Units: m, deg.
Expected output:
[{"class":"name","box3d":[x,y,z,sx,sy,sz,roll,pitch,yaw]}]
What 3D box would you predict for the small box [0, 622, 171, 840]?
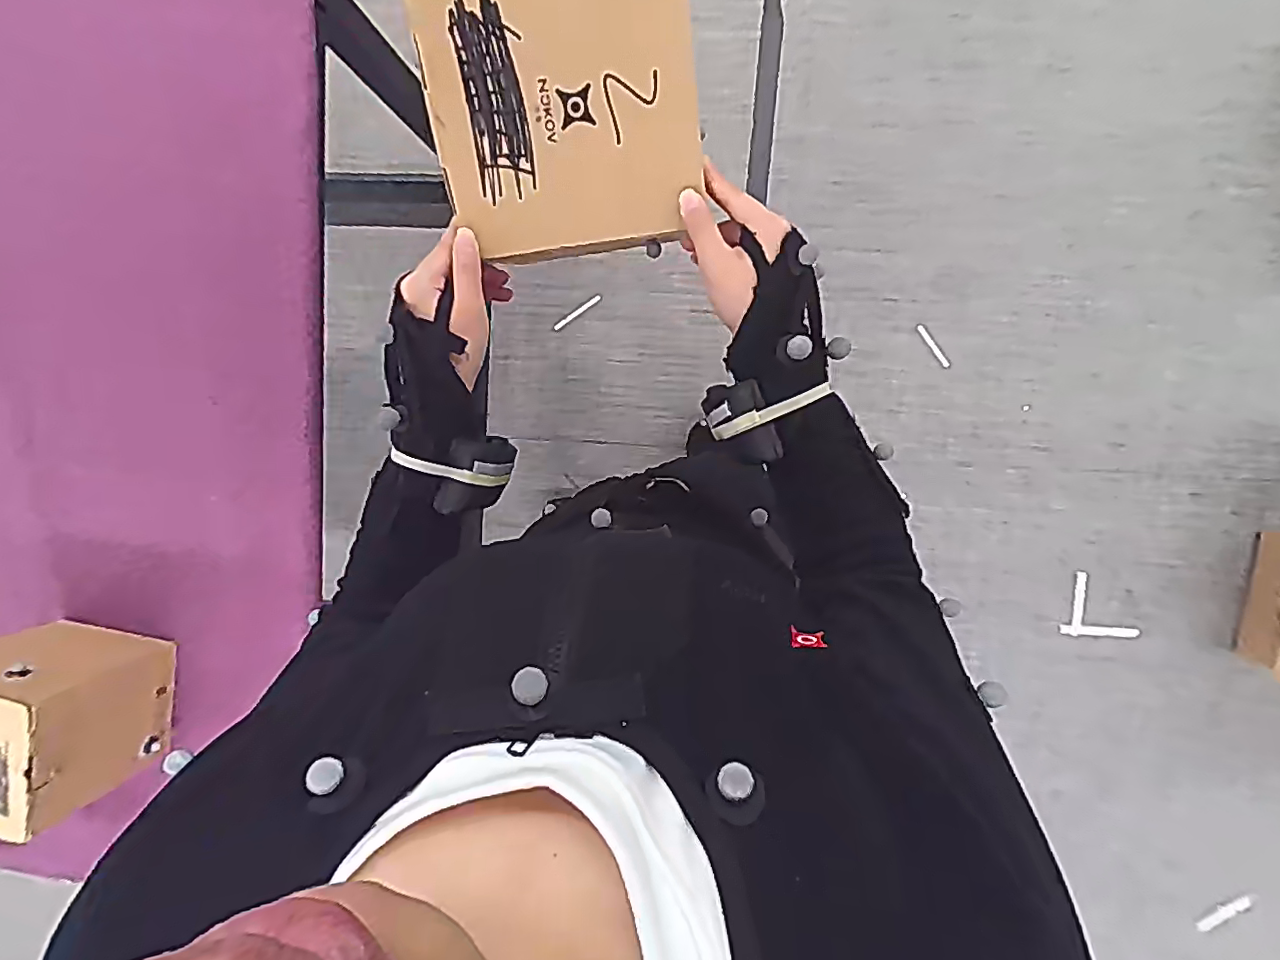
[{"class":"small box","box3d":[-0.731,0.291,0.664,0.179,0.176,0.168,10,96,5]}]
